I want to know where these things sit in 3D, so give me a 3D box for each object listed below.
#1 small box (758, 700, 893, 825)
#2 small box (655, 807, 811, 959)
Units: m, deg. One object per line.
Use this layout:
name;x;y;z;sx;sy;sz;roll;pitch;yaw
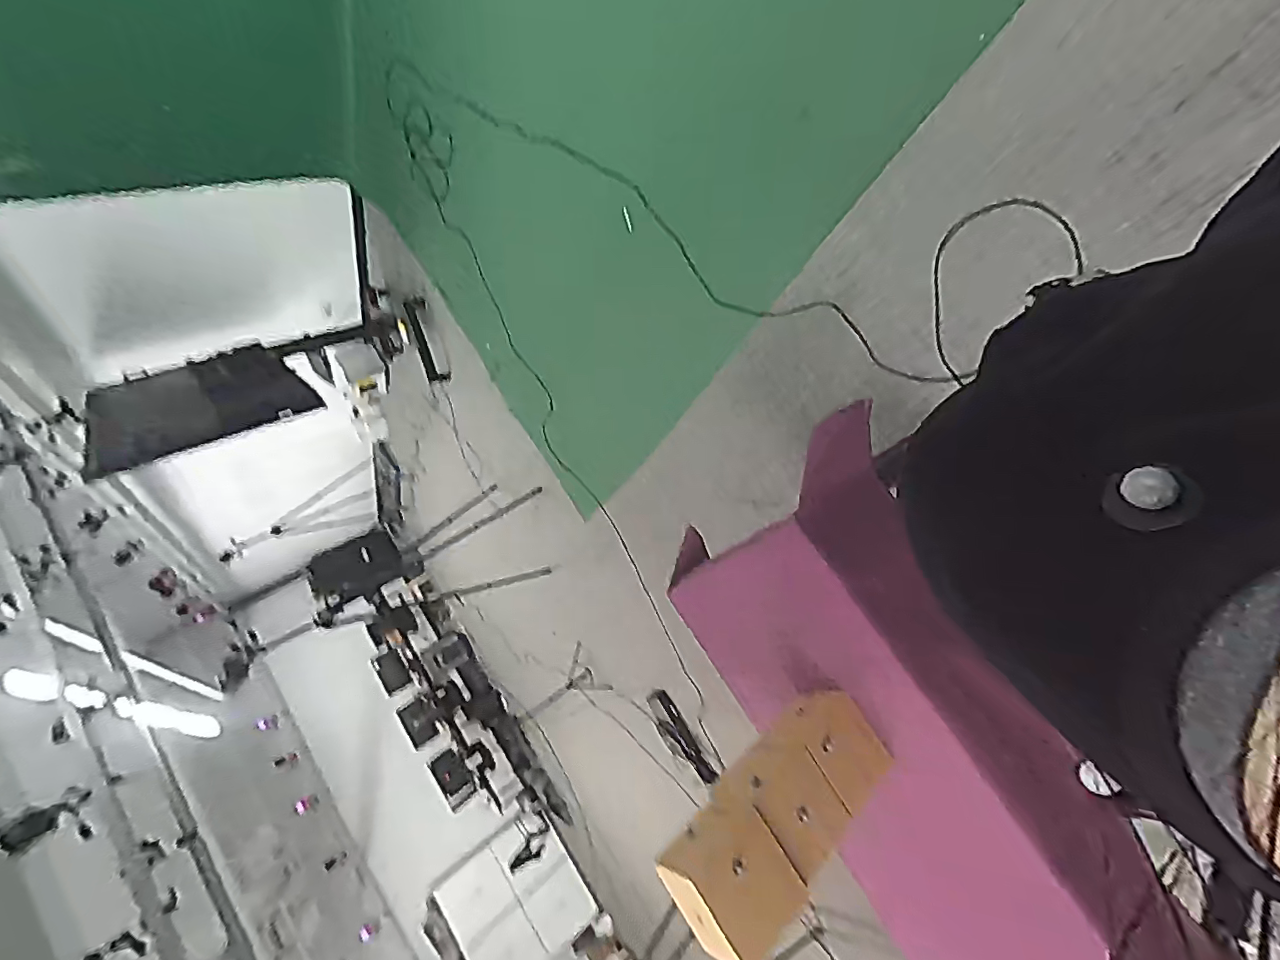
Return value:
small box;0.397;0.592;1.160;0.179;0.176;0.168;57;147;9
small box;0.165;0.725;0.969;0.179;0.176;0.168;57;147;9
